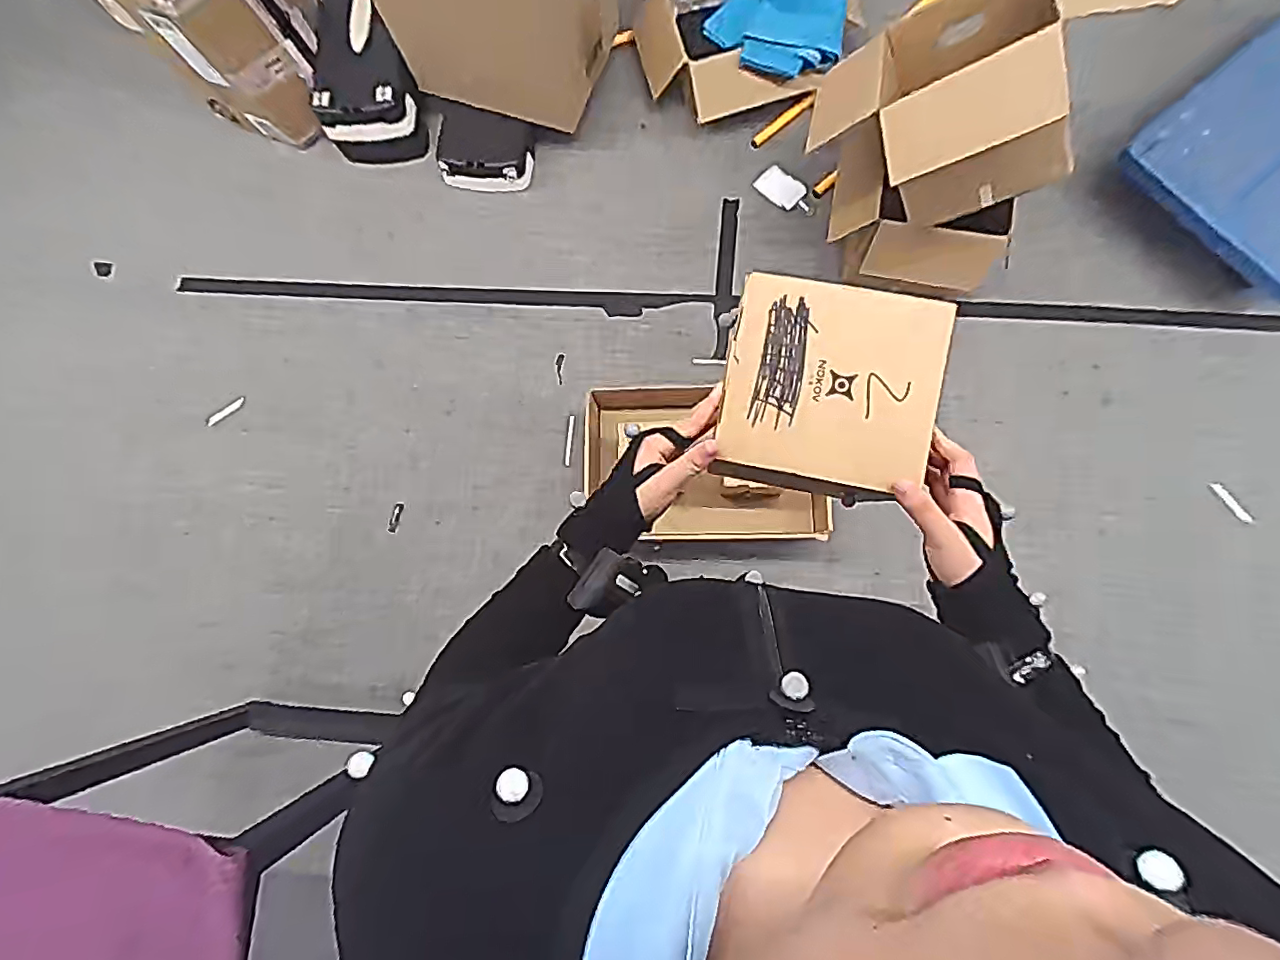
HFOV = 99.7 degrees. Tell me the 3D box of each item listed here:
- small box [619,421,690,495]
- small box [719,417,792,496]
[{"bbox_3d":[0.037,-0.053,1.433,0.179,0.176,0.168,-2,80,2],"label":"small box"},{"bbox_3d":[0.296,-0.057,1.419,0.168,0.176,0.179,-1,81,4],"label":"small box"}]
